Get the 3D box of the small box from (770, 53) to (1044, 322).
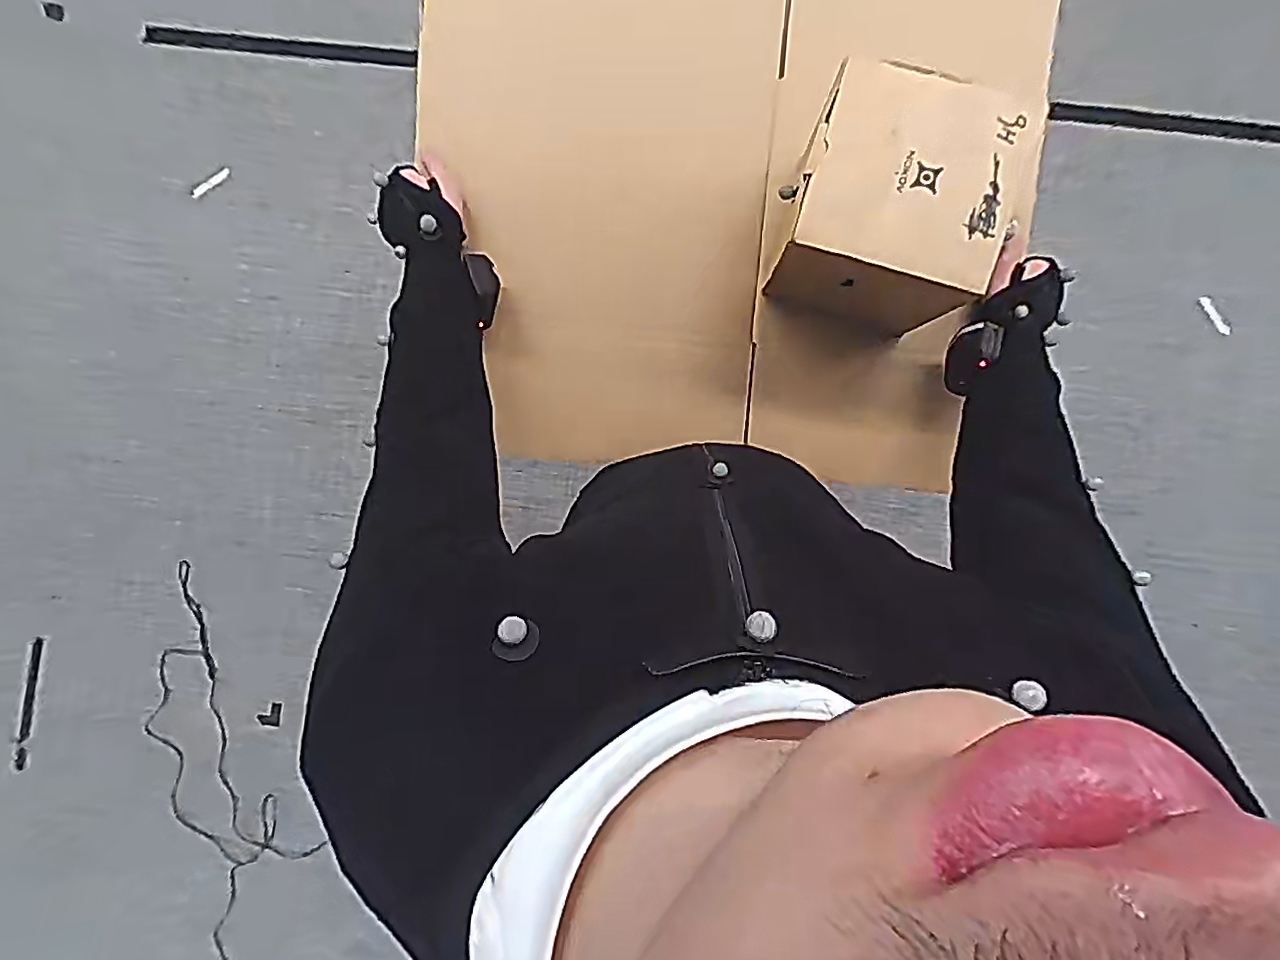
[{"bbox_3d":[0.245,-0.274,0.549,0.179,0.176,0.168,17,95,4],"label":"small box"}]
